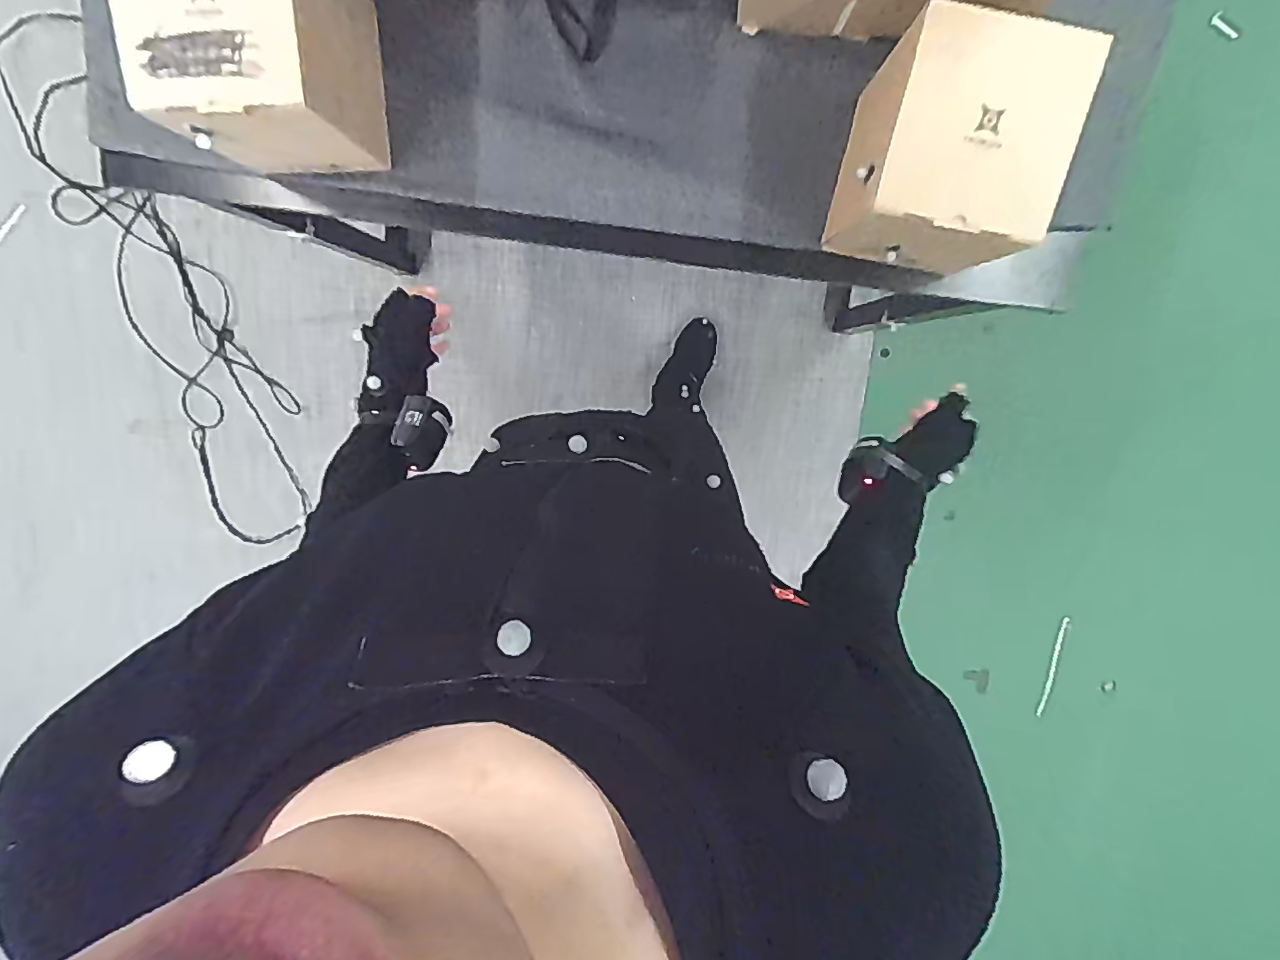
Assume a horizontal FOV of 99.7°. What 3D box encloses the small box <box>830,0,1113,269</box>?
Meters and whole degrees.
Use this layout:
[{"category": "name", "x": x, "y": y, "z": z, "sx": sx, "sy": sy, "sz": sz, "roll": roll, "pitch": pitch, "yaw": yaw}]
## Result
[{"category": "small box", "x": 0.320, "y": -0.338, "z": 0.567, "sx": 0.168, "sy": 0.176, "sz": 0.179, "roll": 12, "pitch": 103, "yaw": -1}]
